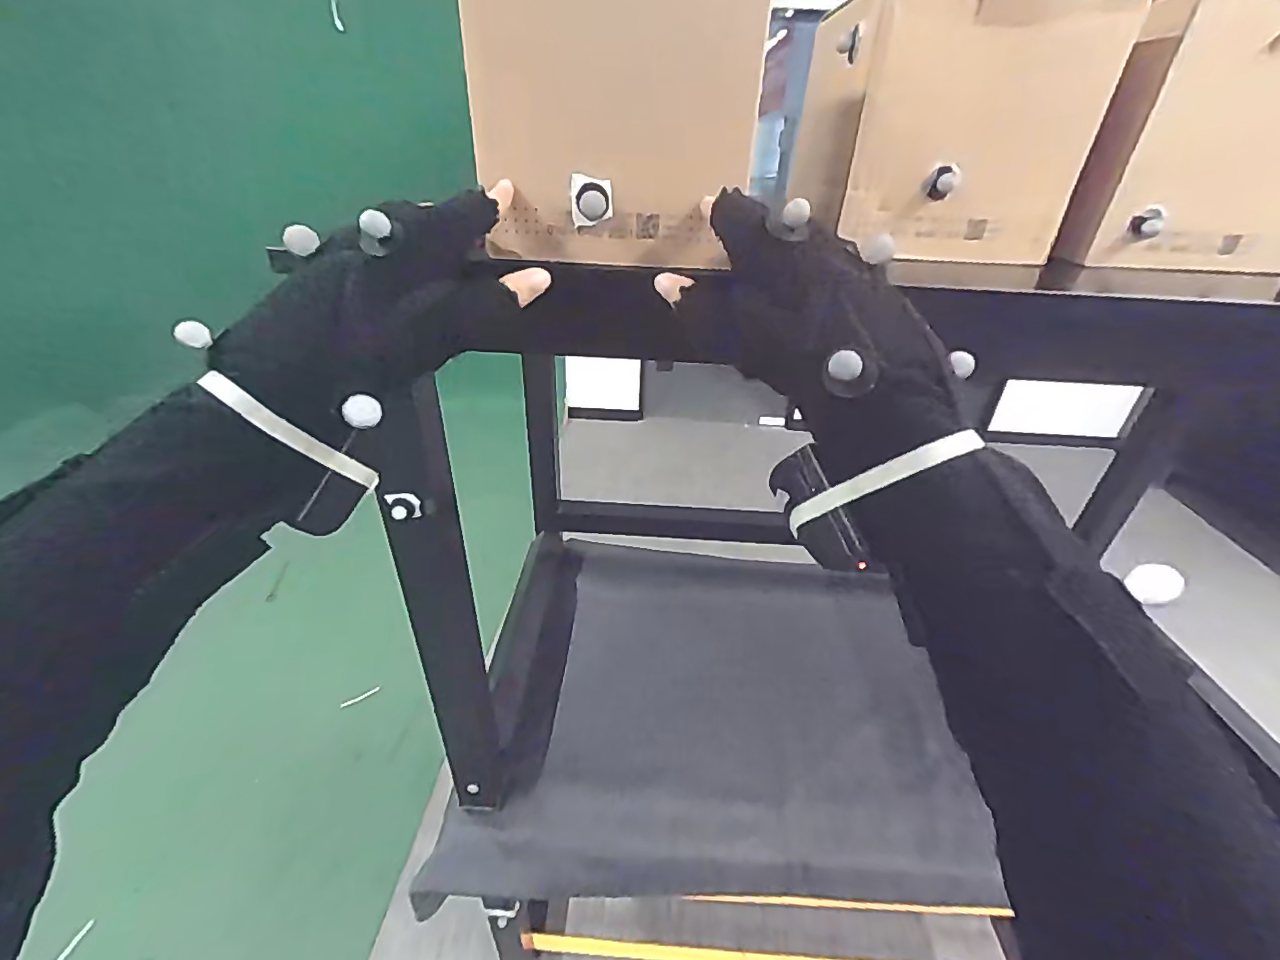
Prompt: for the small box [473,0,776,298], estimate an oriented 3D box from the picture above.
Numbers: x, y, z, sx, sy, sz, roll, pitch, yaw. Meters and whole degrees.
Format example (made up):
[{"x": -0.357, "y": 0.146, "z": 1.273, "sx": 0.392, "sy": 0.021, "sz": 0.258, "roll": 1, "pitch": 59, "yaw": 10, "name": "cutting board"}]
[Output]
[{"x": -0.012, "y": -0.240, "z": 0.389, "sx": 0.168, "sy": 0.176, "sz": 0.179, "roll": 1, "pitch": 33, "yaw": -1, "name": "small box"}]
